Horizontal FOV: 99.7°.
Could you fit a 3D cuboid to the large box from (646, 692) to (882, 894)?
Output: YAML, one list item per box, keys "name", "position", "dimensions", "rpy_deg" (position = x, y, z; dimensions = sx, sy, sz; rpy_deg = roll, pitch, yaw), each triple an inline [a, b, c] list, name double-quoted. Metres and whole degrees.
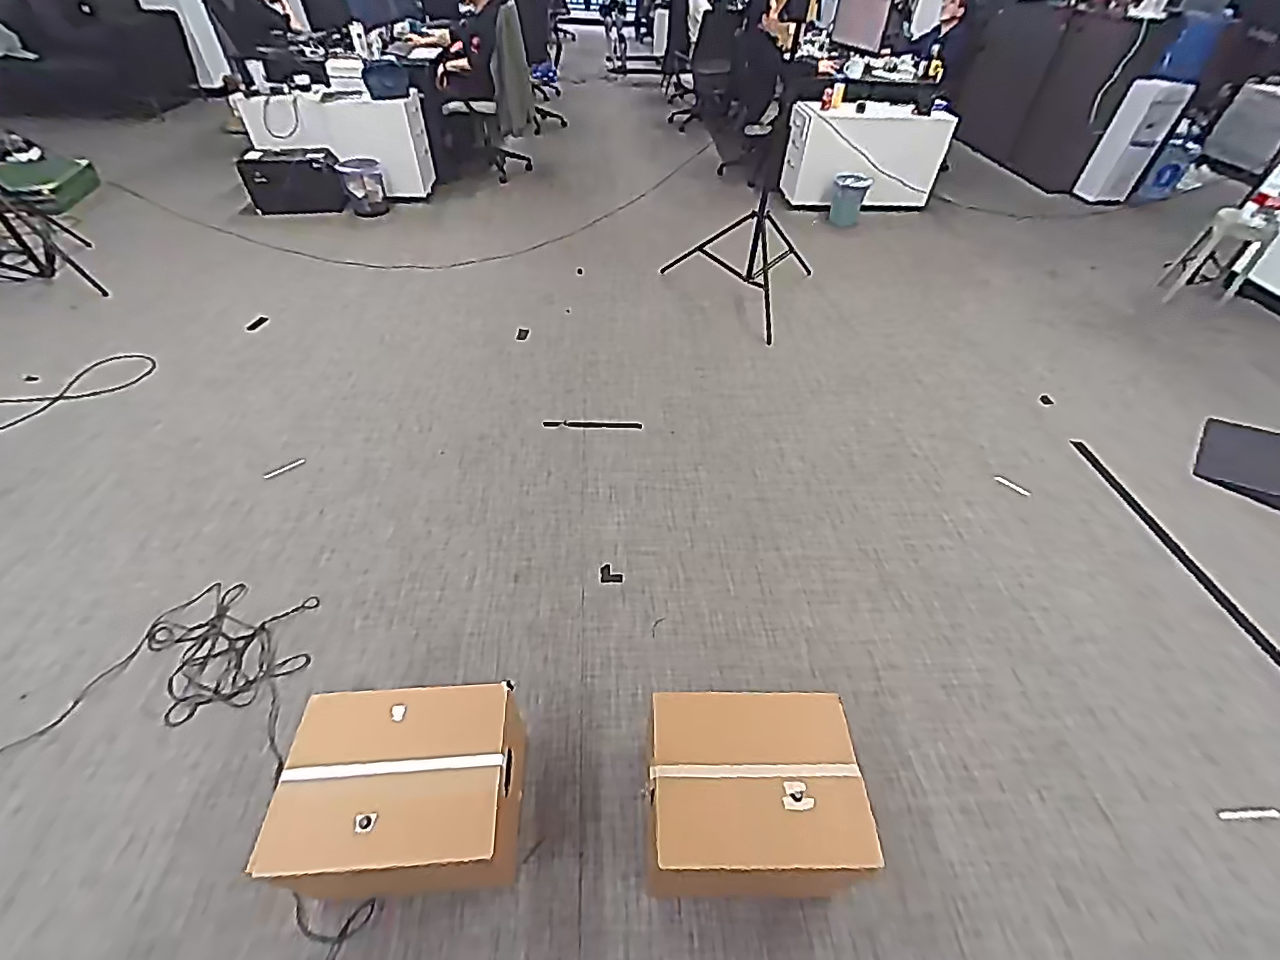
- name: "large box"
  position: [0.225, 0.672, 1.163]
  dimensions: [0.408, 0.320, 0.320]
  rpy_deg: [2, 46, -2]
